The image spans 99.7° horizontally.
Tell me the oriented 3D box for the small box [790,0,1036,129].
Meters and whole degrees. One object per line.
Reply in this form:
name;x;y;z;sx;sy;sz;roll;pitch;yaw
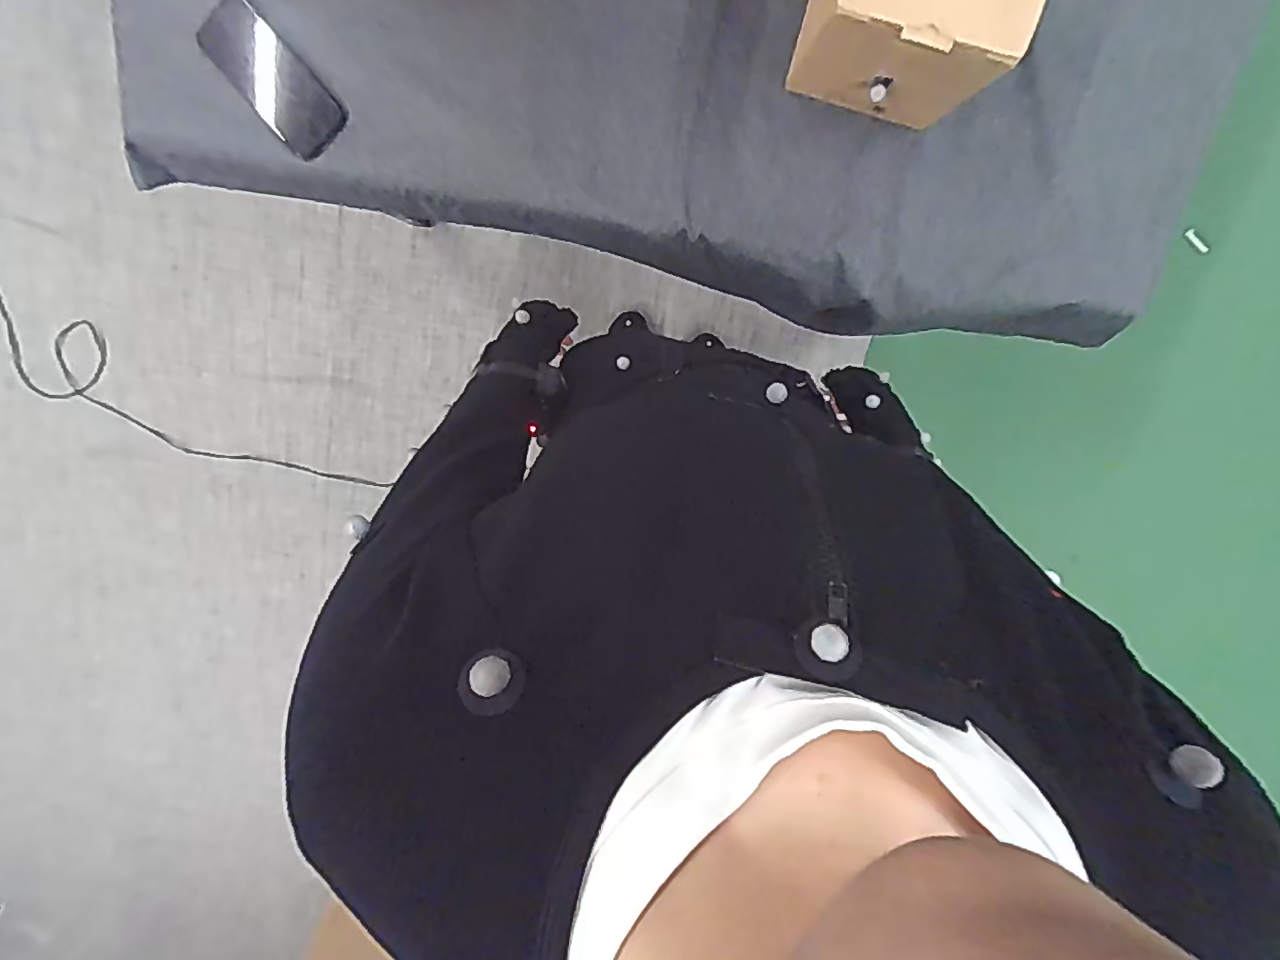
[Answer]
small box;0.255;-0.464;0.505;0.168;0.176;0.179;14;106;-3
